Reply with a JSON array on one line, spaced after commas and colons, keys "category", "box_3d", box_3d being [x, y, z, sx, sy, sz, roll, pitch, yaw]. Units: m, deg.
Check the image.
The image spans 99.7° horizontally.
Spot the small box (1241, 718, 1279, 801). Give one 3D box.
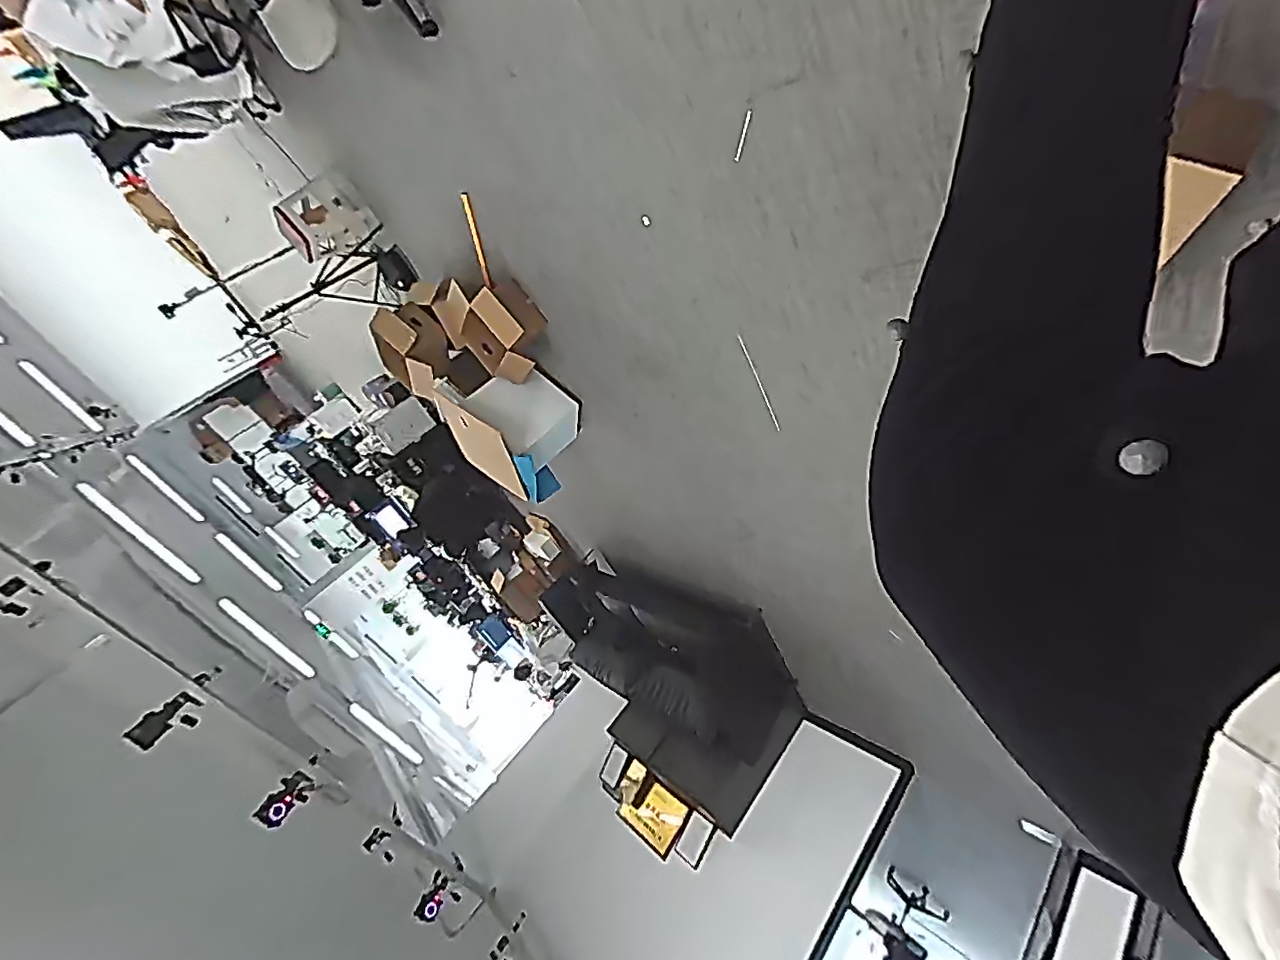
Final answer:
[{"category": "small box", "box_3d": [1.928, 0.842, 1.602, 0.179, 0.176, 0.168, 6, 133, 53]}]
